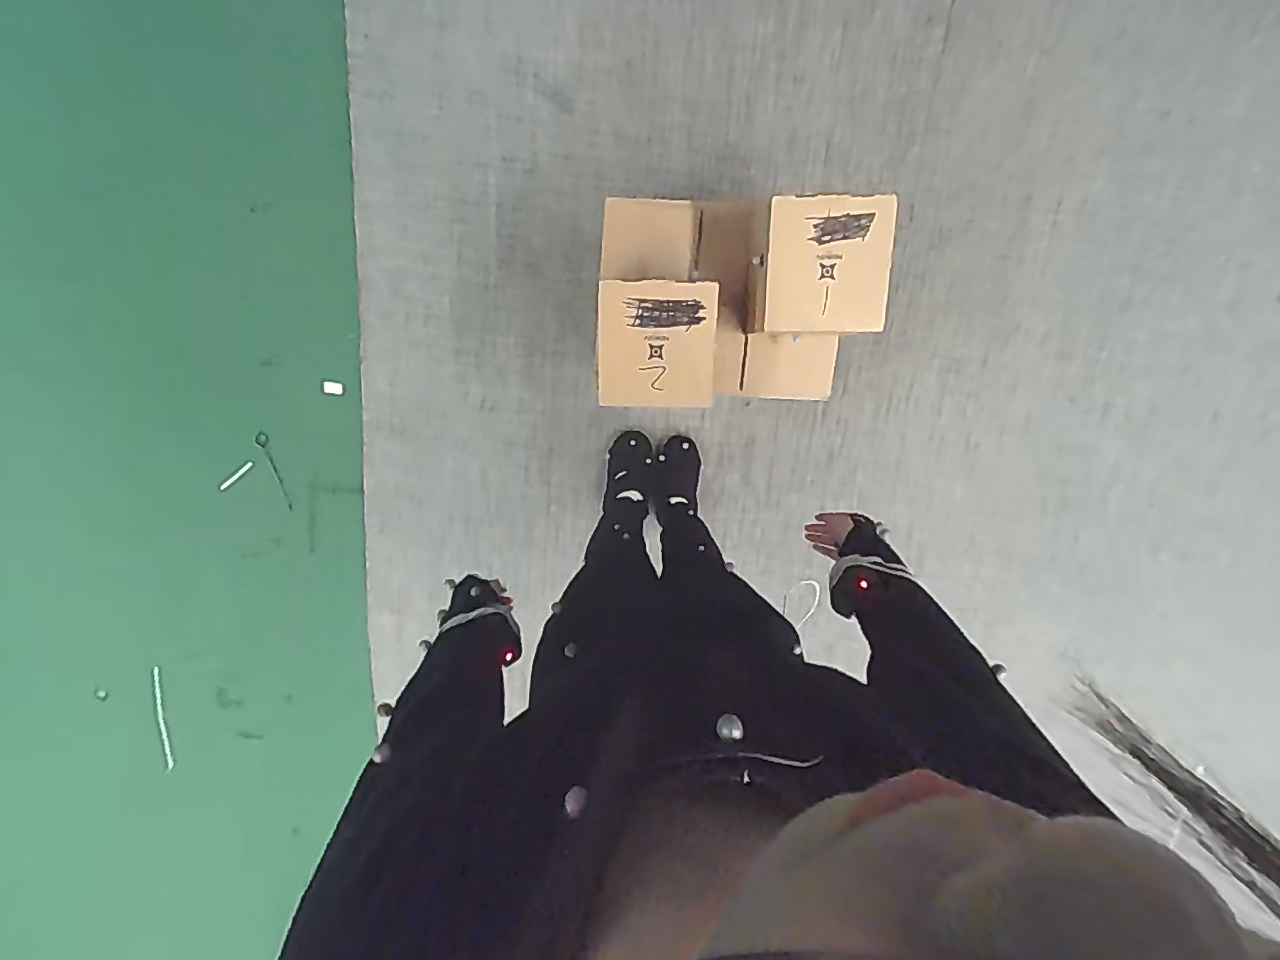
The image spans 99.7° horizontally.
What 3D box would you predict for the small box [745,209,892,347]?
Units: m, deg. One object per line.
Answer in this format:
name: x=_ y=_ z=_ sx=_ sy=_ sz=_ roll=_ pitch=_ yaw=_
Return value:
small box: x=0.256 y=-0.294 z=0.818 sx=0.168 sy=0.176 sz=0.179 roll=2 pitch=104 yaw=2
